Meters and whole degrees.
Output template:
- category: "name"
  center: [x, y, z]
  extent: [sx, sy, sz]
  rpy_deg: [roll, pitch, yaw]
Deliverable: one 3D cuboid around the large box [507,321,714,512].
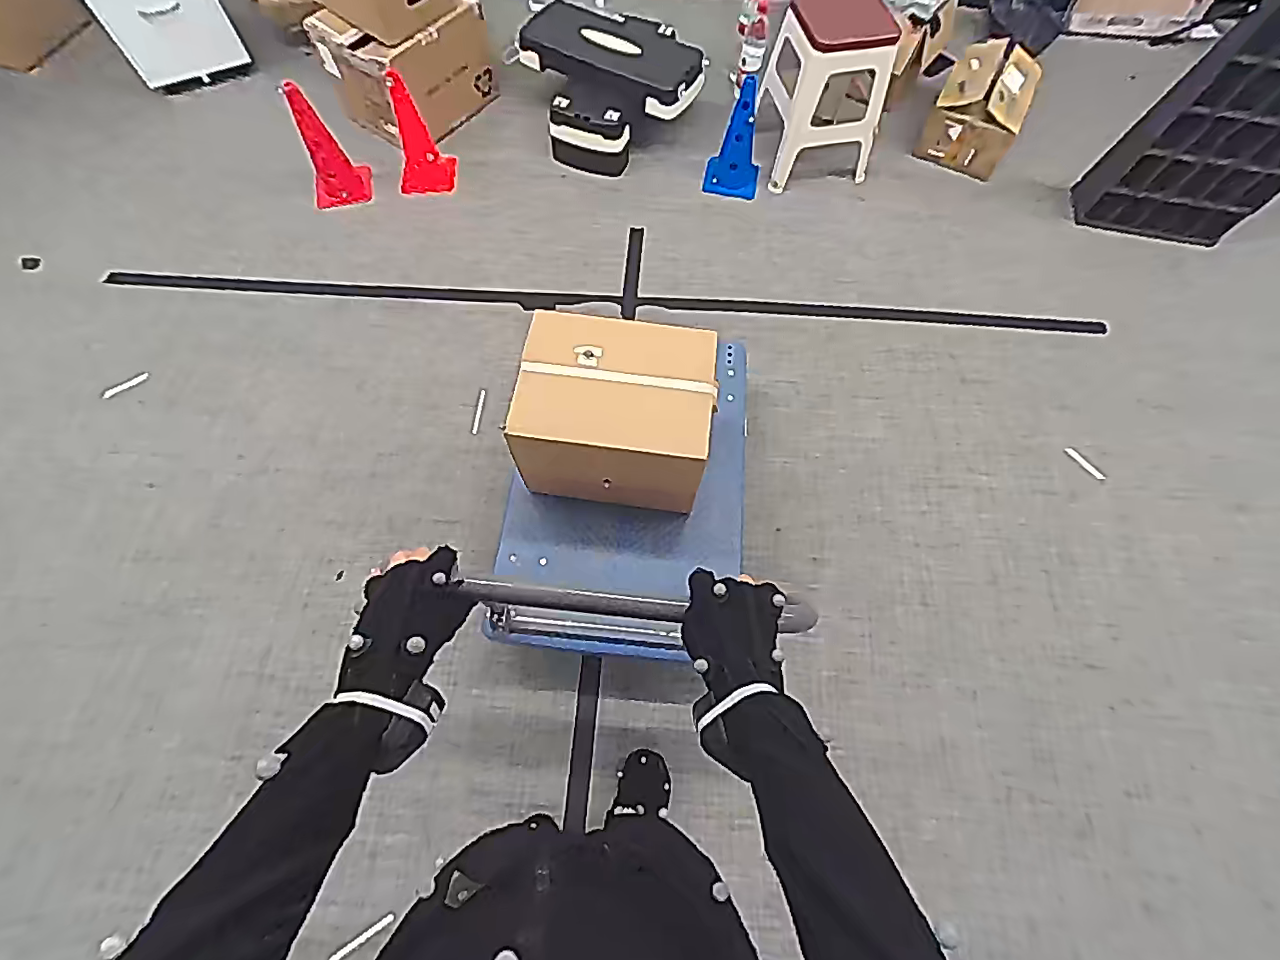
- category: "large box"
  center: [-0.051, -0.133, 1.265]
  extent: [0.408, 0.320, 0.320]
  rpy_deg: [7, 67, 3]
